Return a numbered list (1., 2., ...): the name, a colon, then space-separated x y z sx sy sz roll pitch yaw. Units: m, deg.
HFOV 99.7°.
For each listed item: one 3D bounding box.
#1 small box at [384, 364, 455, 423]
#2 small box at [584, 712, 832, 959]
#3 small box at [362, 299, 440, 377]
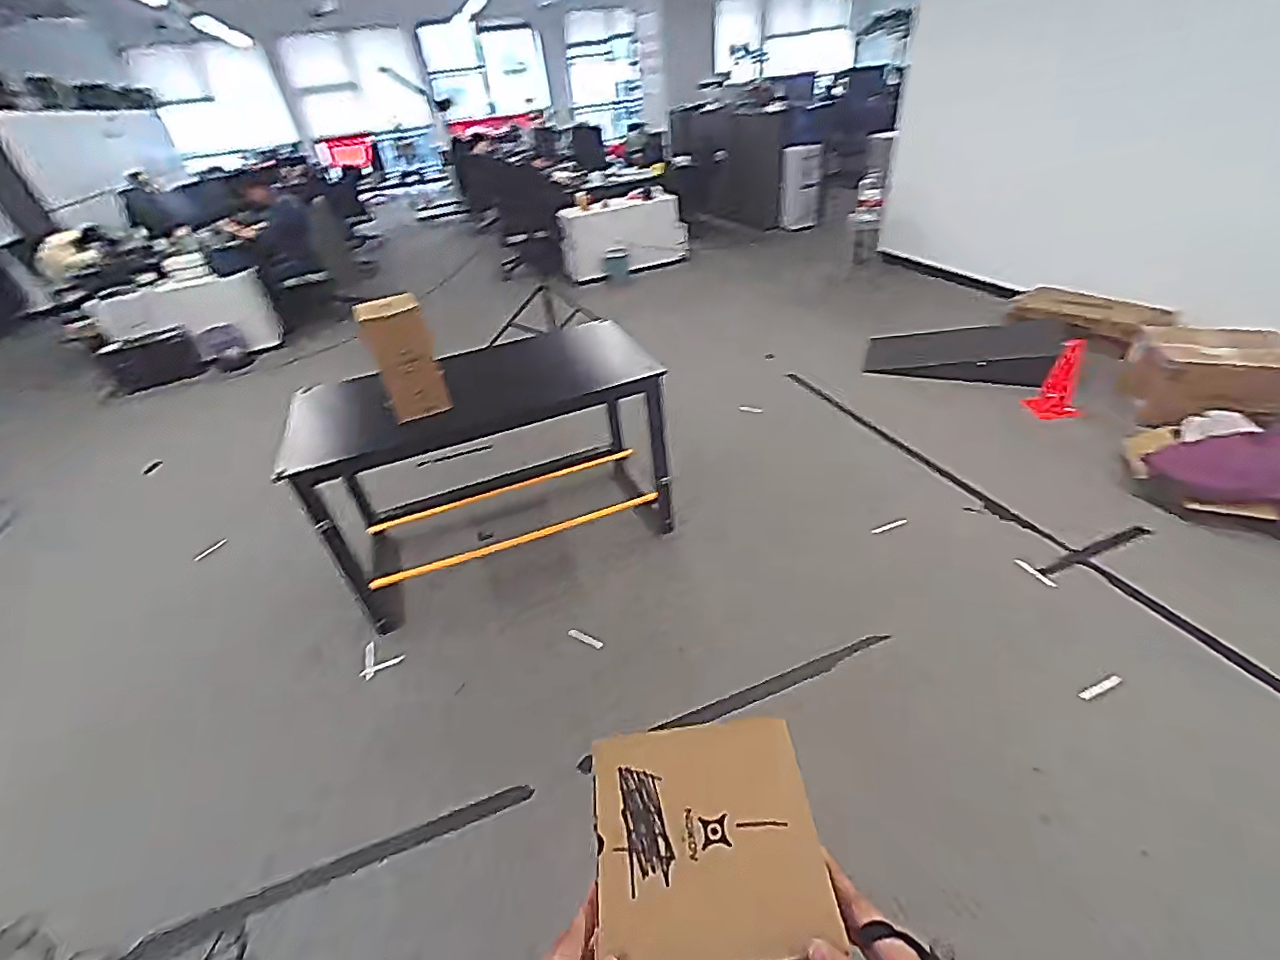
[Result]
1. small box: -0.715 -0.301 1.755 0.168 0.176 0.179 -21 38 -17
2. small box: 0.050 0.334 0.484 0.179 0.176 0.168 -7 42 -1
3. small box: -0.733 -0.436 1.660 0.168 0.176 0.179 -22 38 -18
